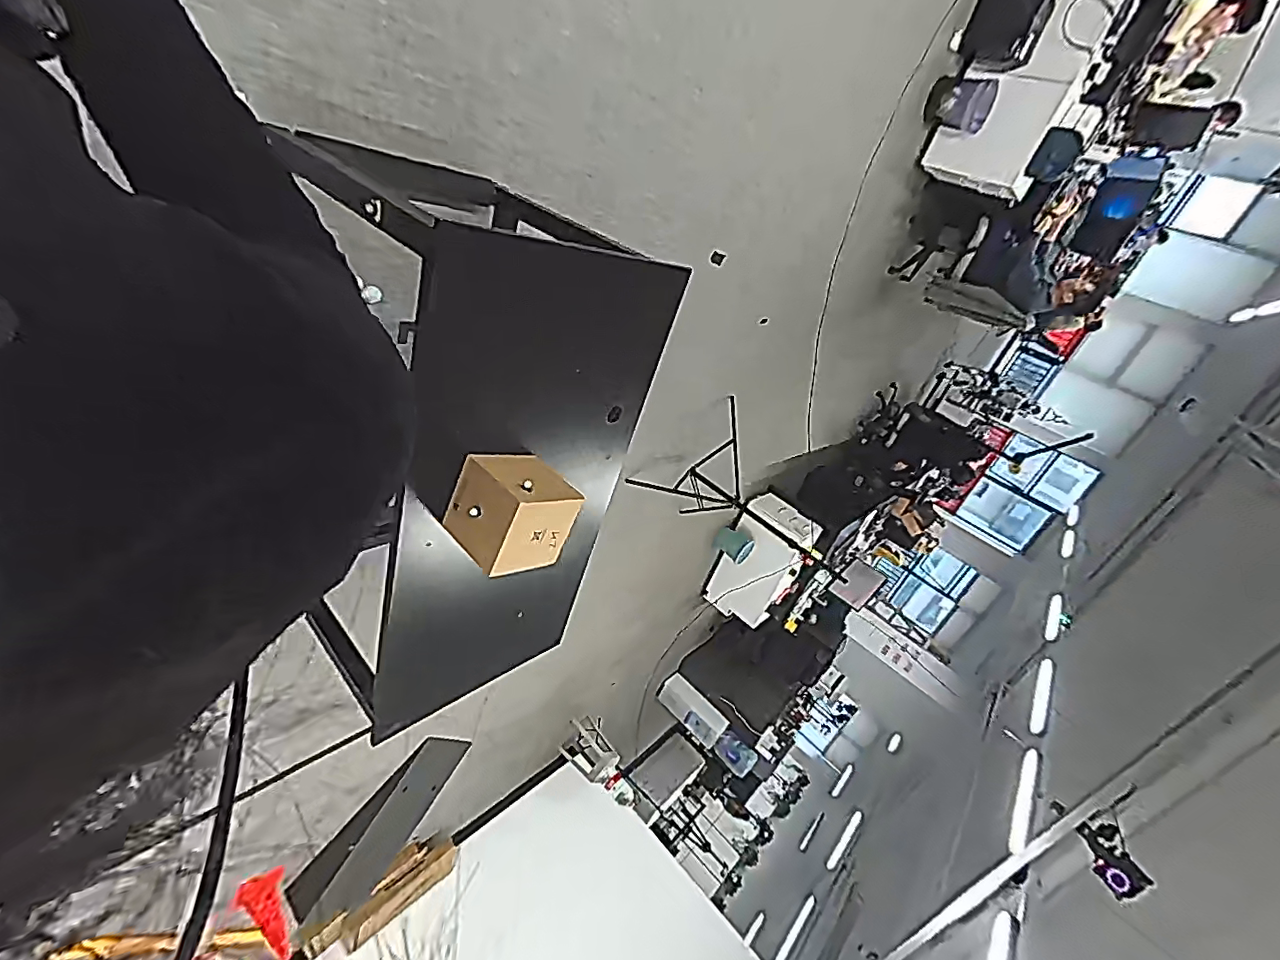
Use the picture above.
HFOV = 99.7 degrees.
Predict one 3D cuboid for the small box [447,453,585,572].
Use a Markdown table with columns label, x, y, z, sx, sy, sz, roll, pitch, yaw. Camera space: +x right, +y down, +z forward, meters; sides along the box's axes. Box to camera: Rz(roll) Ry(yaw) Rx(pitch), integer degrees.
| label | x | y | z | sx | sy | sz | roll | pitch | yaw |
| --- | --- | --- | --- | --- | --- | --- | --- | --- | --- |
| small box | -0.248 | 0.056 | 1.069 | 0.179 | 0.176 | 0.168 | -3 | 125 | -56 |
